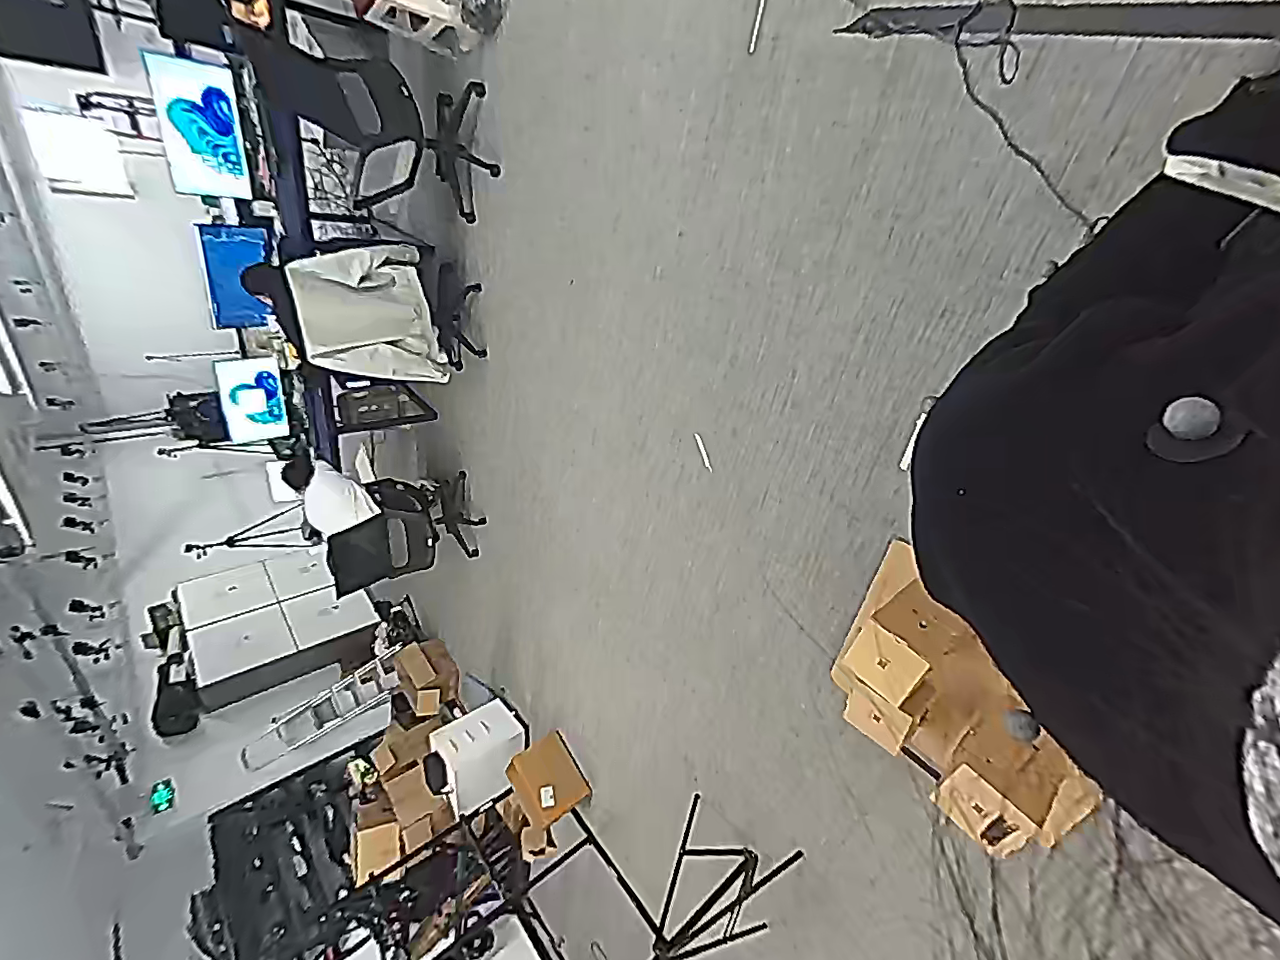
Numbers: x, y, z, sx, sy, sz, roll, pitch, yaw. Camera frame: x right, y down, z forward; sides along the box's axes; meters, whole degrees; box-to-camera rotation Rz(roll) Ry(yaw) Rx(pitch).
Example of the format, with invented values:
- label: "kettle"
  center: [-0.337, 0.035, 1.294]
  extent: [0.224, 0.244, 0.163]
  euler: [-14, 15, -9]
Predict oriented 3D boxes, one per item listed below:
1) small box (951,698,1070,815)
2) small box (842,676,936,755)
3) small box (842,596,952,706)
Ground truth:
- label: "small box"
  center: [0.957, 0.706, 1.393]
  extent: [0.179, 0.176, 0.168]
  euler: [43, 132, 30]
- label: "small box"
  center: [0.750, 0.674, 1.629]
  extent: [0.179, 0.176, 0.168]
  euler: [32, 126, 40]
- label: "small box"
  center: [0.662, 0.433, 1.388]
  extent: [0.168, 0.176, 0.179]
  euler: [39, 129, 34]
